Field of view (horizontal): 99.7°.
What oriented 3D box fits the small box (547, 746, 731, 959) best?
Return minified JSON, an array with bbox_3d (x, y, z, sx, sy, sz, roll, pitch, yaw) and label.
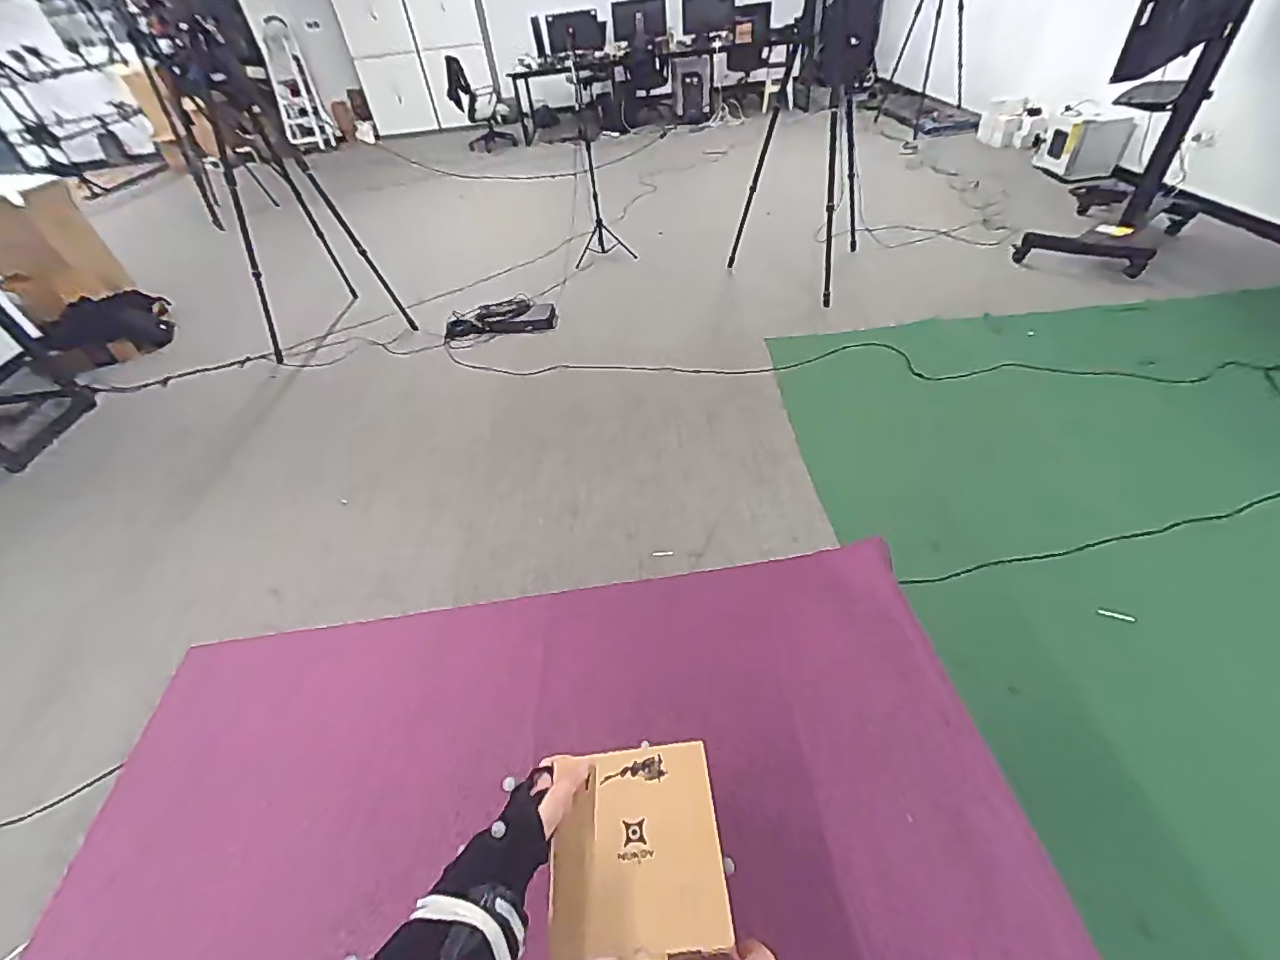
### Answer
[{"bbox_3d":[0.003,0.411,0.579,0.168,0.176,0.179,-7,45,1],"label":"small box"}]
